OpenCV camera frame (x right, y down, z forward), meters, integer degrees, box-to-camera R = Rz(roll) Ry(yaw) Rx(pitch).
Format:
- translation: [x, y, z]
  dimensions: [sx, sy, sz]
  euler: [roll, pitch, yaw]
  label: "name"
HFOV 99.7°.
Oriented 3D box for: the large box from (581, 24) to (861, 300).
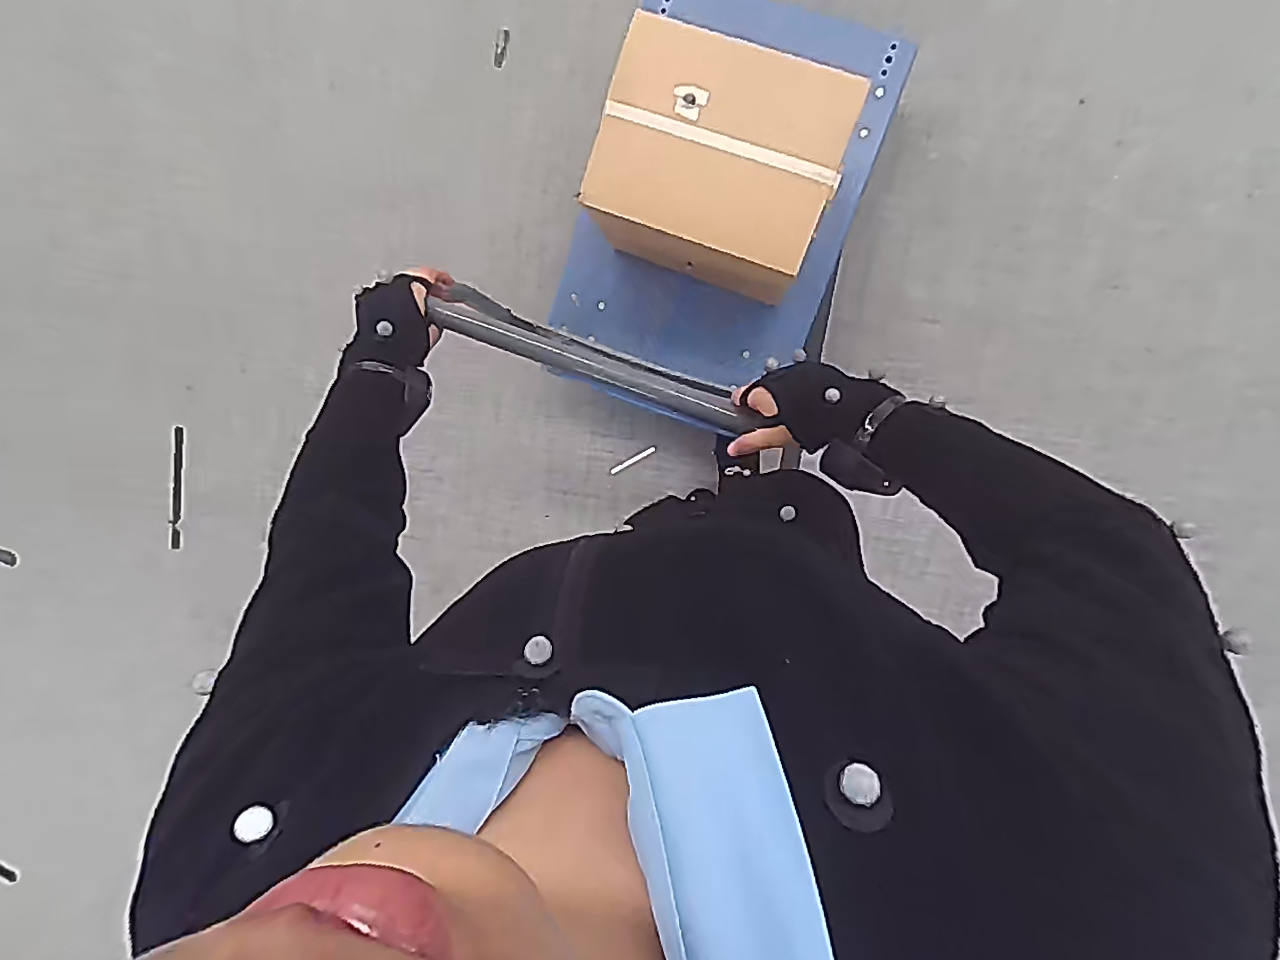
- translation: [0.152, -0.585, 1.065]
  dimensions: [0.408, 0.320, 0.320]
  euler: [21, 100, 6]
  label: "large box"
